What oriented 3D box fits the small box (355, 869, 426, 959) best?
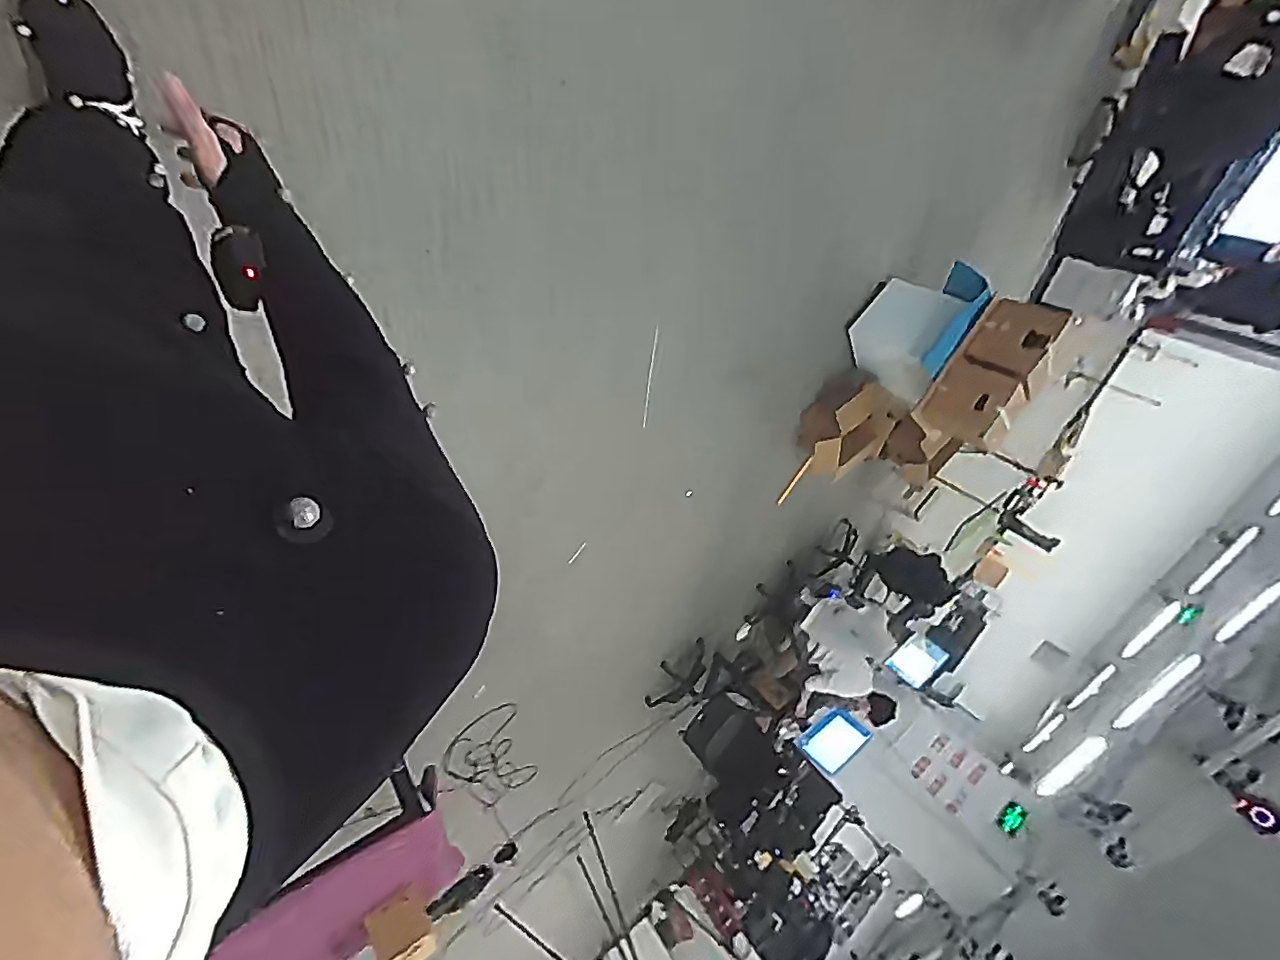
[{"bbox_3d":[-0.835,1.453,1.807,0.168,0.176,0.179,-19,135,-35],"label":"small box"}]
